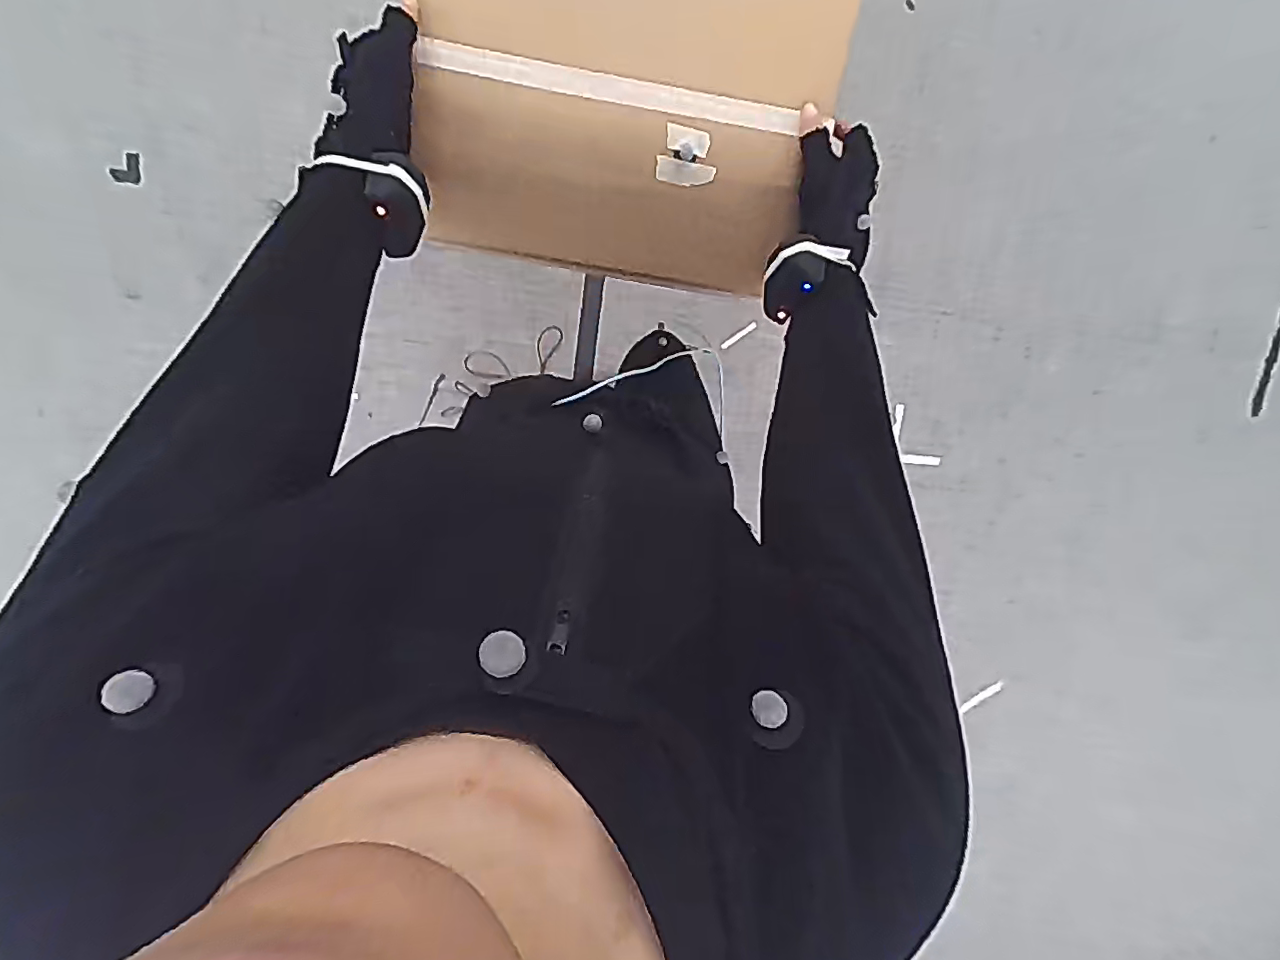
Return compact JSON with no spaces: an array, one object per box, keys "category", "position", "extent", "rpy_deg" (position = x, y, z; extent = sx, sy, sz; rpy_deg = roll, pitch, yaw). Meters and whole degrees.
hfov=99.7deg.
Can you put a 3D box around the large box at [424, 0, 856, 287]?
[{"category":"large box","position":[-0.015,-0.429,0.667],"extent":[0.408,0.320,0.320],"rpy_deg":[8,110,-6]}]
